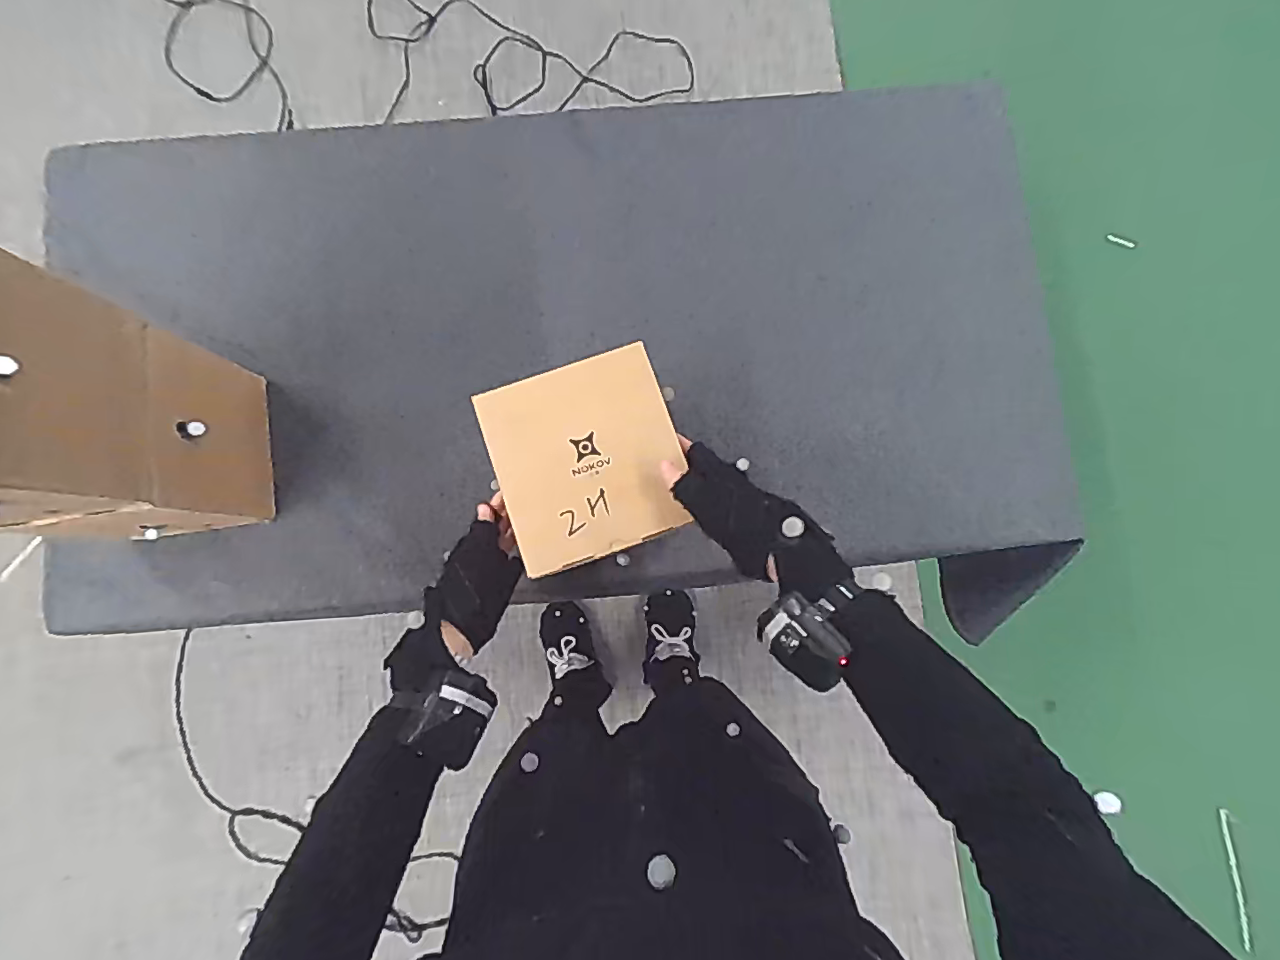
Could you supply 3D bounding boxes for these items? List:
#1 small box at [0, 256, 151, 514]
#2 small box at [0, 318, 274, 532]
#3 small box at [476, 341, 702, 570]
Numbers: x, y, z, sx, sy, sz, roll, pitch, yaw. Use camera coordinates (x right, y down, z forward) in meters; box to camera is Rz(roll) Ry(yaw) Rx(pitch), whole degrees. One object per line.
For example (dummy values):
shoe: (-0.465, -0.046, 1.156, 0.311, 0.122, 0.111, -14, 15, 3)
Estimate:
small box: (-0.511, -0.066, 0.398, 0.168, 0.176, 0.179, -7, 83, -3)
small box: (-0.515, -0.044, 0.560, 0.168, 0.176, 0.179, -8, 84, -2)
small box: (-0.048, -0.013, 0.560, 0.168, 0.176, 0.179, -18, 83, -2)
